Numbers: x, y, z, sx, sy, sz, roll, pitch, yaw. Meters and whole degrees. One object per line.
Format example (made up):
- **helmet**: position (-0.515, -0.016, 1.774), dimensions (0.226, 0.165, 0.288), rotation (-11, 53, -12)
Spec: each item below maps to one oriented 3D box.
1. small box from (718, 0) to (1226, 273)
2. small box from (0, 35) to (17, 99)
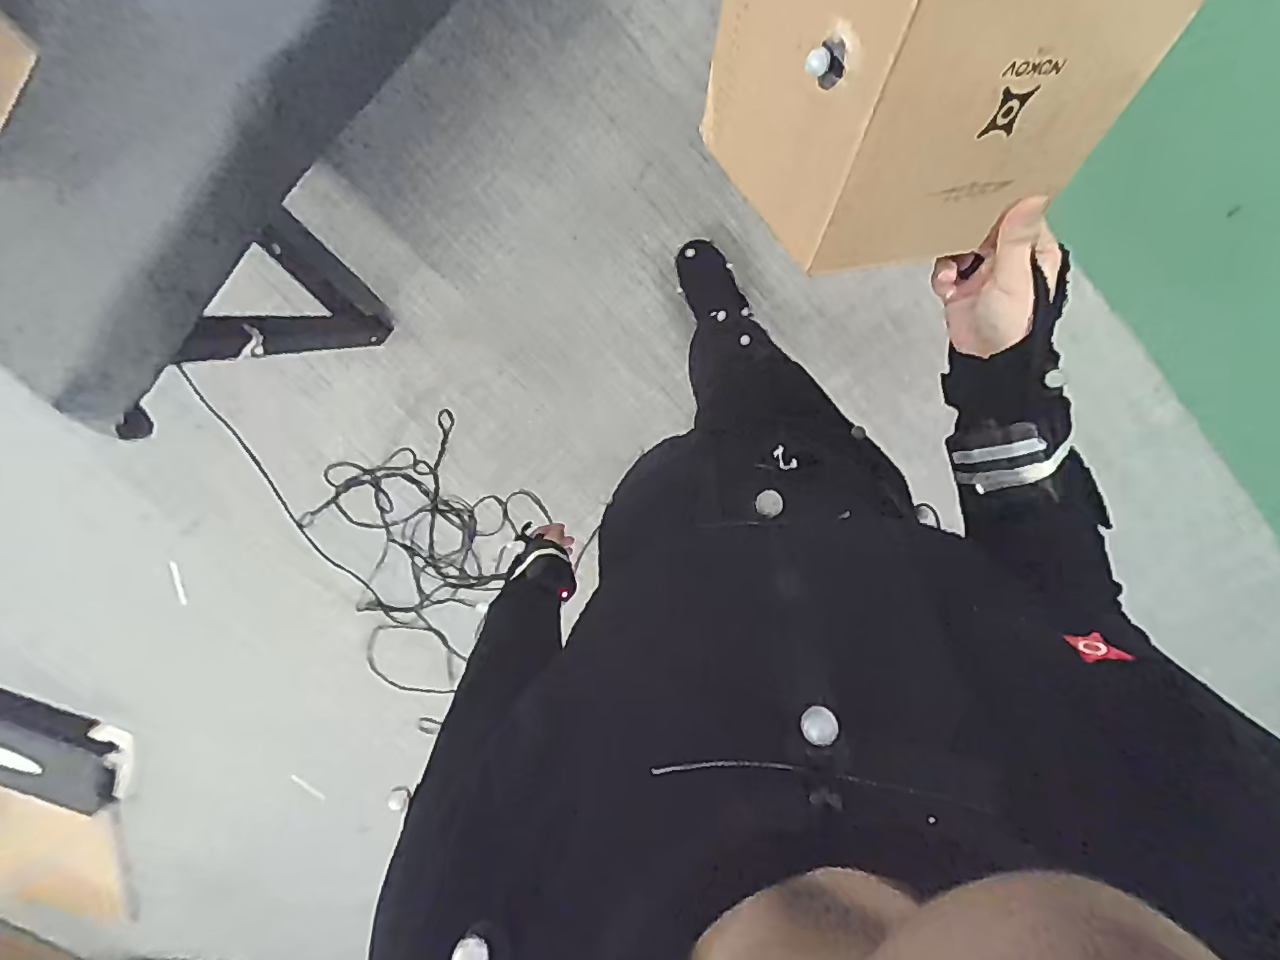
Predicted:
- **small box**: position (0.159, -0.247, 0.295), dimensions (0.168, 0.176, 0.179), rotation (-12, 151, -14)
- **small box**: position (-0.698, -0.381, 0.440), dimensions (0.179, 0.176, 0.168), rotation (44, 104, -8)
